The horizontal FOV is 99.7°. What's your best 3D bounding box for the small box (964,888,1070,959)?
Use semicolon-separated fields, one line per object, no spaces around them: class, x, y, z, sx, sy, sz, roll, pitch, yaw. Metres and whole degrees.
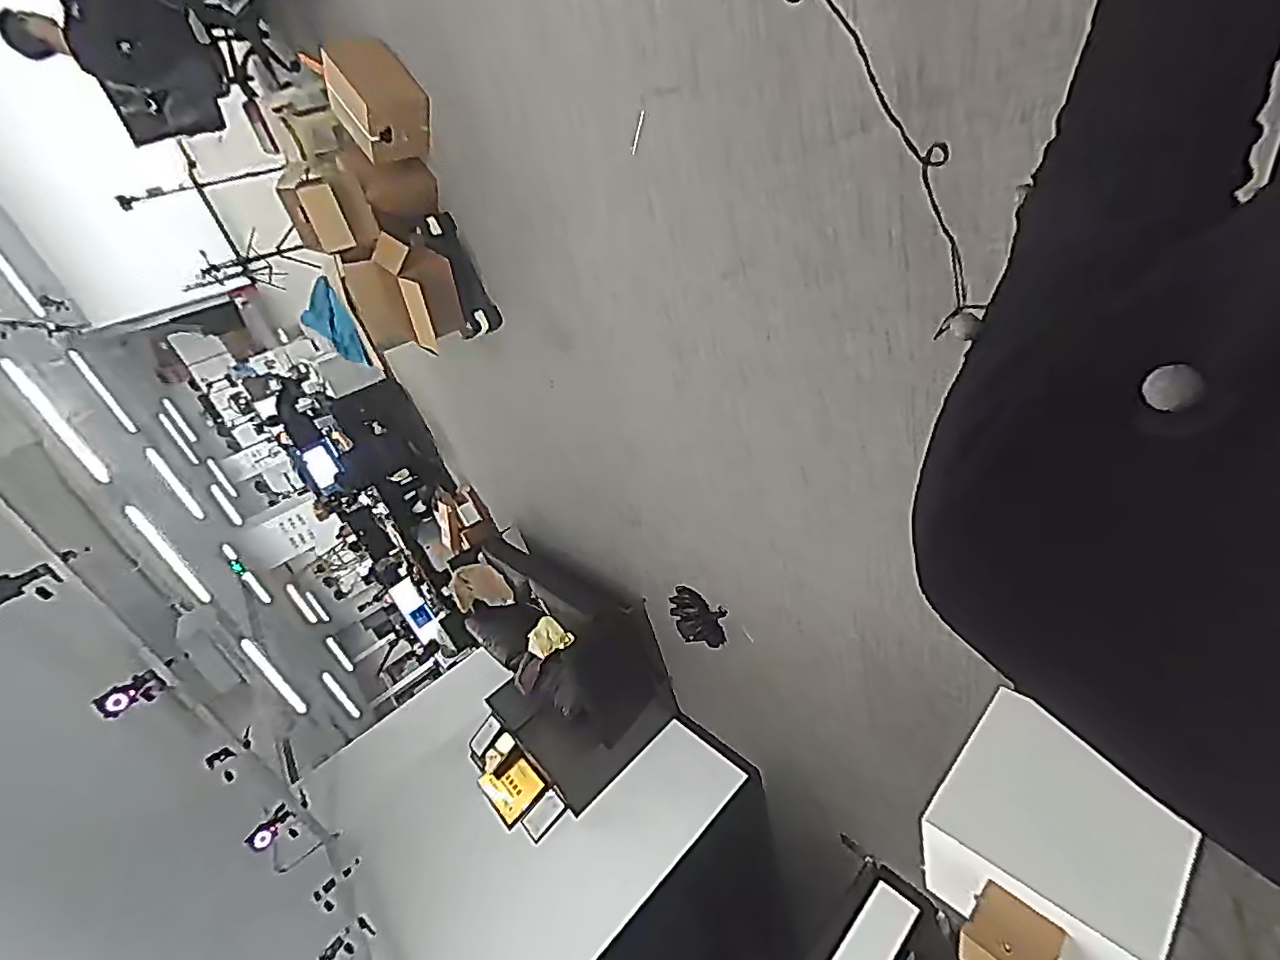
small box;0.947;1.191;1.360;0.179;0.176;0.168;20;134;49
